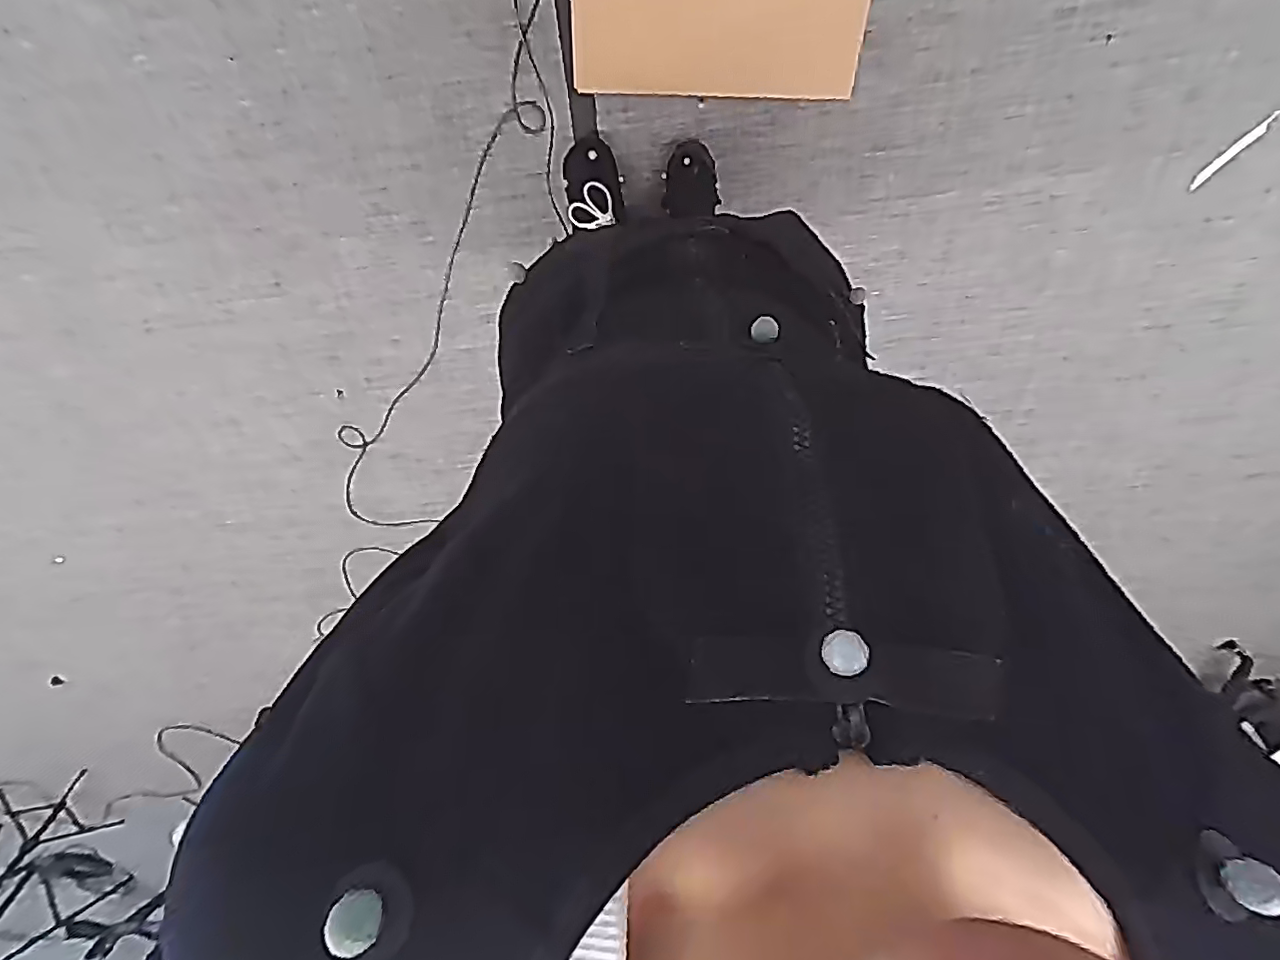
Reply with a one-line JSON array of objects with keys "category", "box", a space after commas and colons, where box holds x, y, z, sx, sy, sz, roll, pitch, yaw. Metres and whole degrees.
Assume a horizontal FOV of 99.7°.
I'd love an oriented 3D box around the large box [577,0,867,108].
[{"category": "large box", "box": [0.107, -0.765, 0.831, 0.408, 0.320, 0.320, 0, 126, -3]}]
